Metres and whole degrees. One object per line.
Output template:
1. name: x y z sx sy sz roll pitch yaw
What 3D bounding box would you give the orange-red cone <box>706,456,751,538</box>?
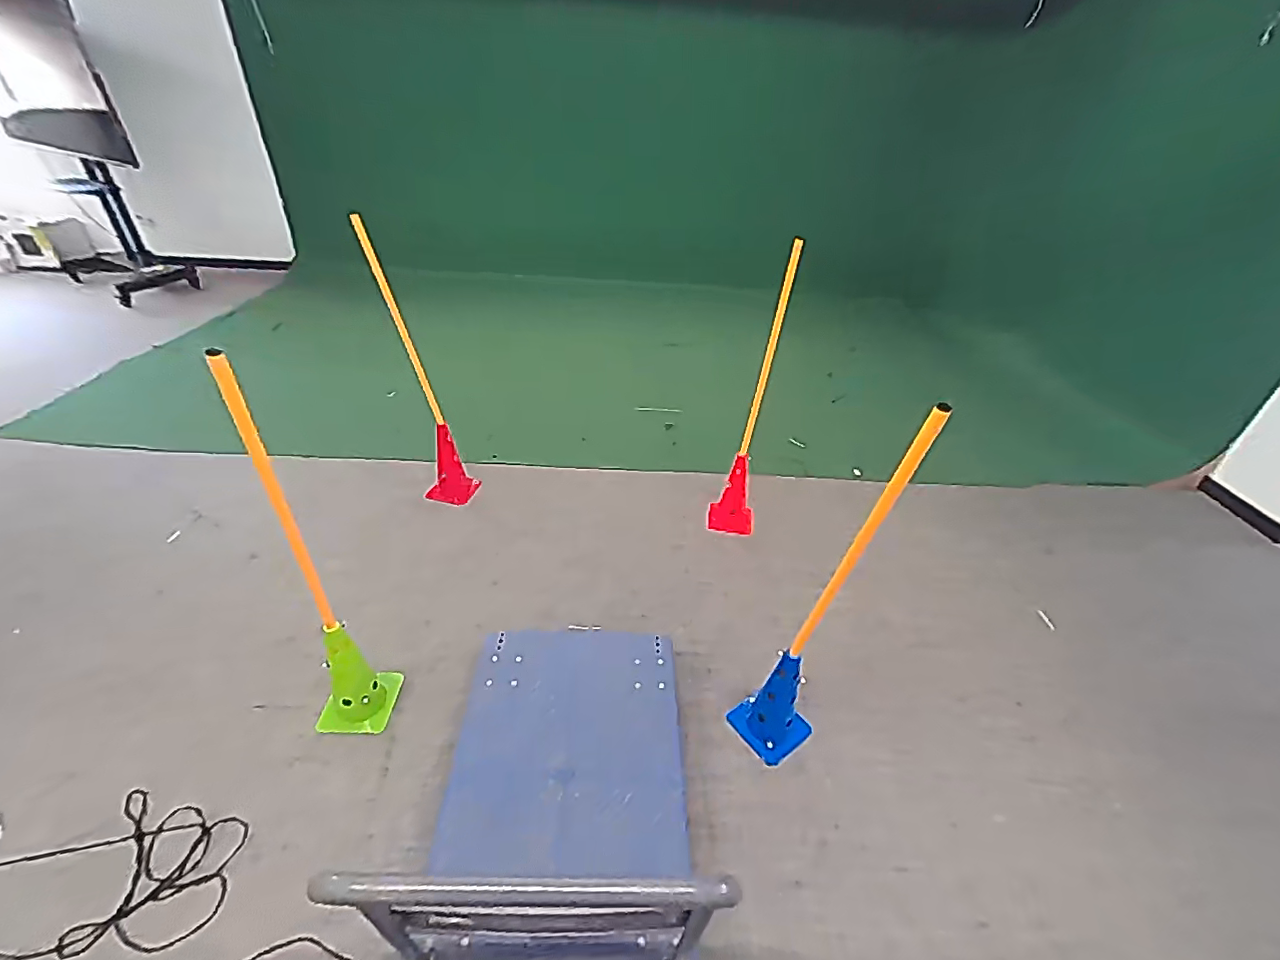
1. orange-red cone: 0.413 0.053 2.357 0.198 0.360 0.199 8 36 8
